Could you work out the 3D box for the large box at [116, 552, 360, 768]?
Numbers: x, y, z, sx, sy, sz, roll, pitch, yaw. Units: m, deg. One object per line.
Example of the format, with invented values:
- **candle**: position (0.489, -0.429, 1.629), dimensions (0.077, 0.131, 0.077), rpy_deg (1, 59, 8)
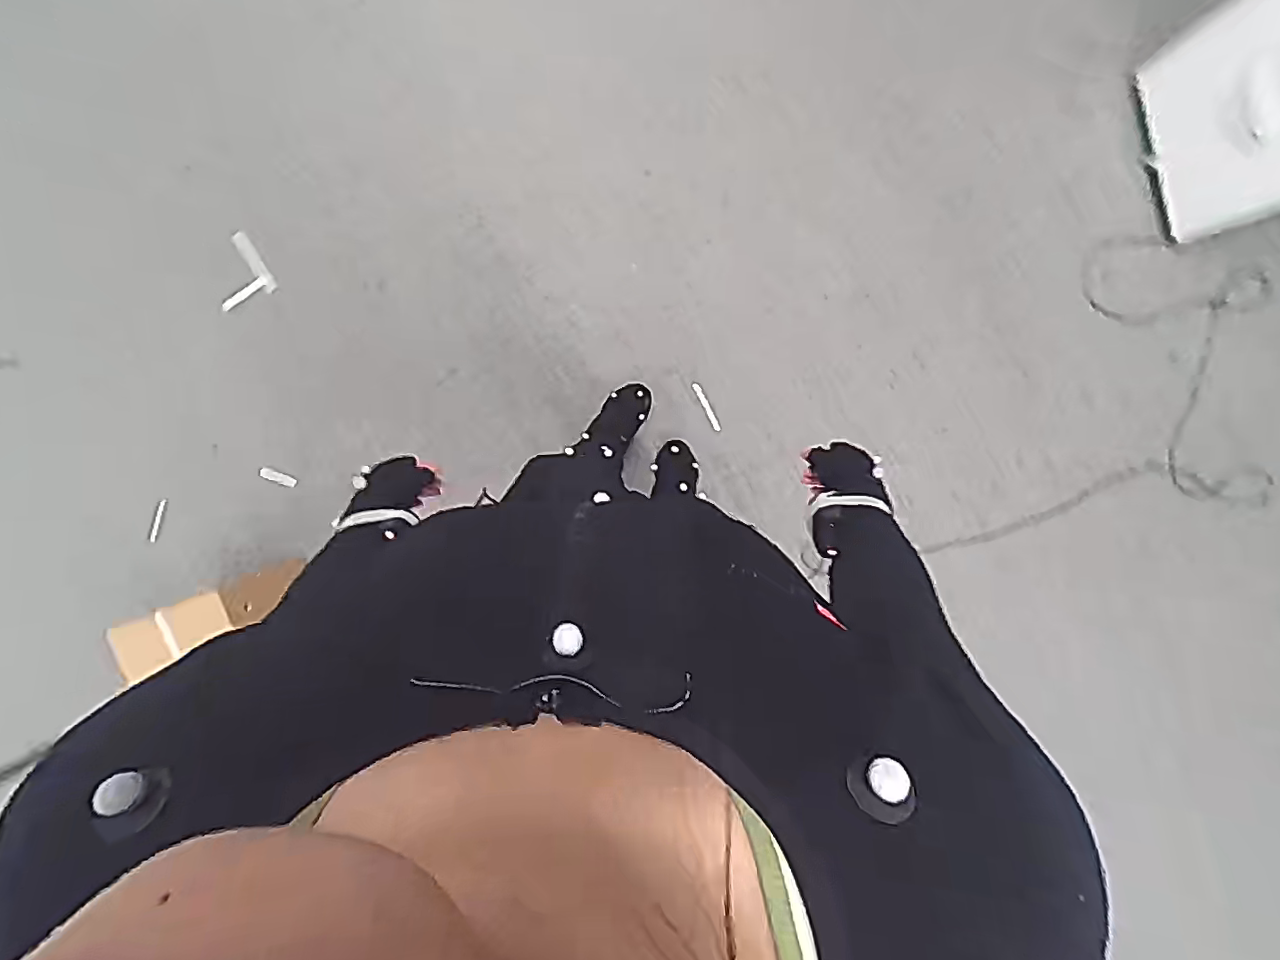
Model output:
- **large box**: position (-1.044, 0.460, 1.454), dimensions (0.320, 0.320, 0.408), rpy_deg (-20, 96, 6)
